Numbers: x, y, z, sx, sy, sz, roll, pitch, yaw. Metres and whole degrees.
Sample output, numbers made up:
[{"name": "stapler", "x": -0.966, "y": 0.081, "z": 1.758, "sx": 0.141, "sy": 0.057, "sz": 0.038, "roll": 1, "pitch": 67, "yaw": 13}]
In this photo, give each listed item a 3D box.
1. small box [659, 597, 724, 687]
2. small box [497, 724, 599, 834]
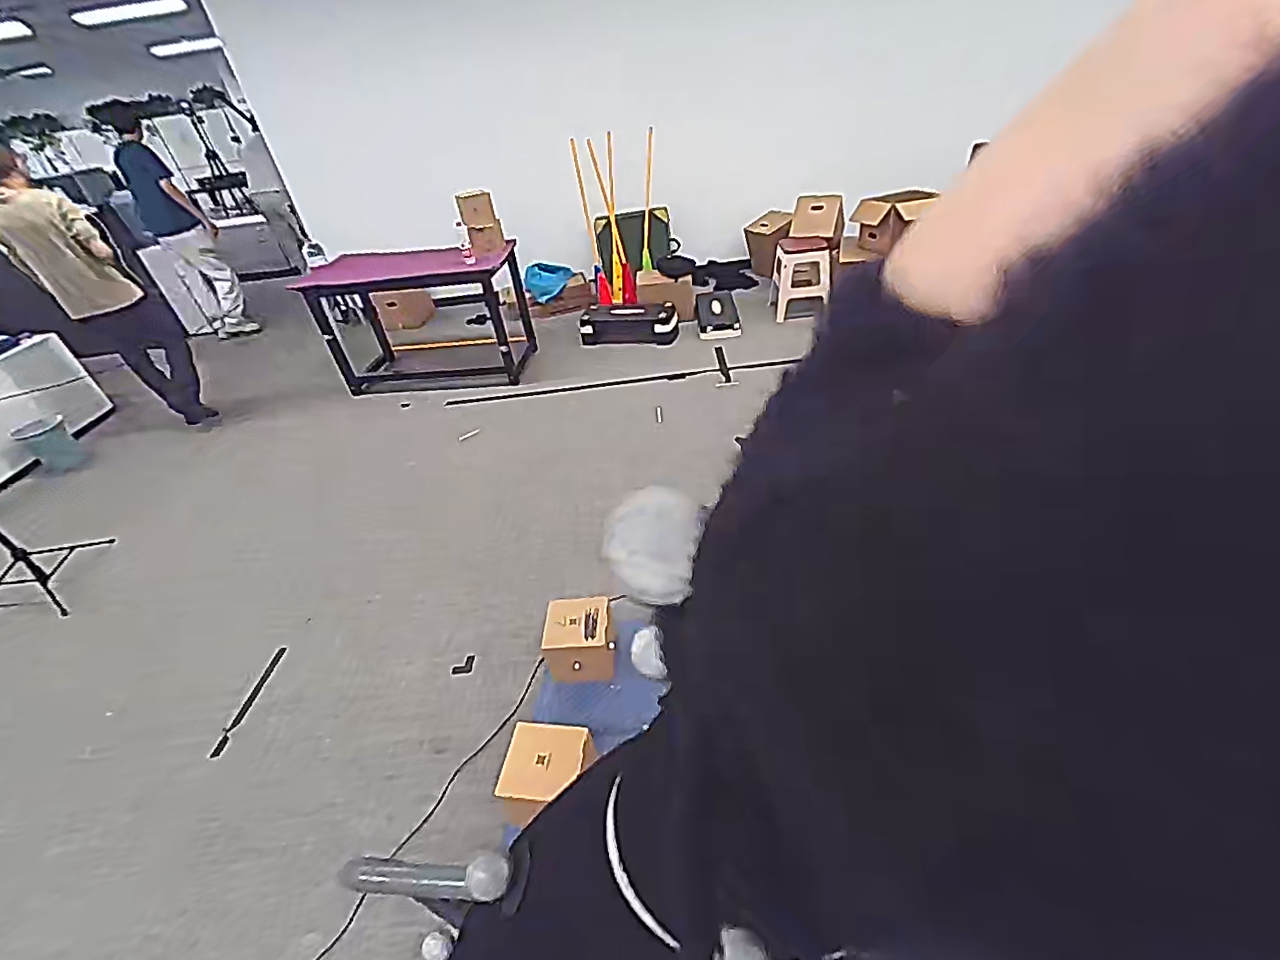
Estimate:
[{"name": "small box", "x": 0.146, "y": 0.446, "z": 1.498, "sx": 0.168, "sy": 0.176, "sz": 0.179, "roll": -2, "pitch": 39, "yaw": 9}, {"name": "small box", "x": -0.203, "y": 0.689, "z": 1.246, "sx": 0.179, "sy": 0.176, "sz": 0.168, "roll": 0, "pitch": 37, "yaw": 9}]
